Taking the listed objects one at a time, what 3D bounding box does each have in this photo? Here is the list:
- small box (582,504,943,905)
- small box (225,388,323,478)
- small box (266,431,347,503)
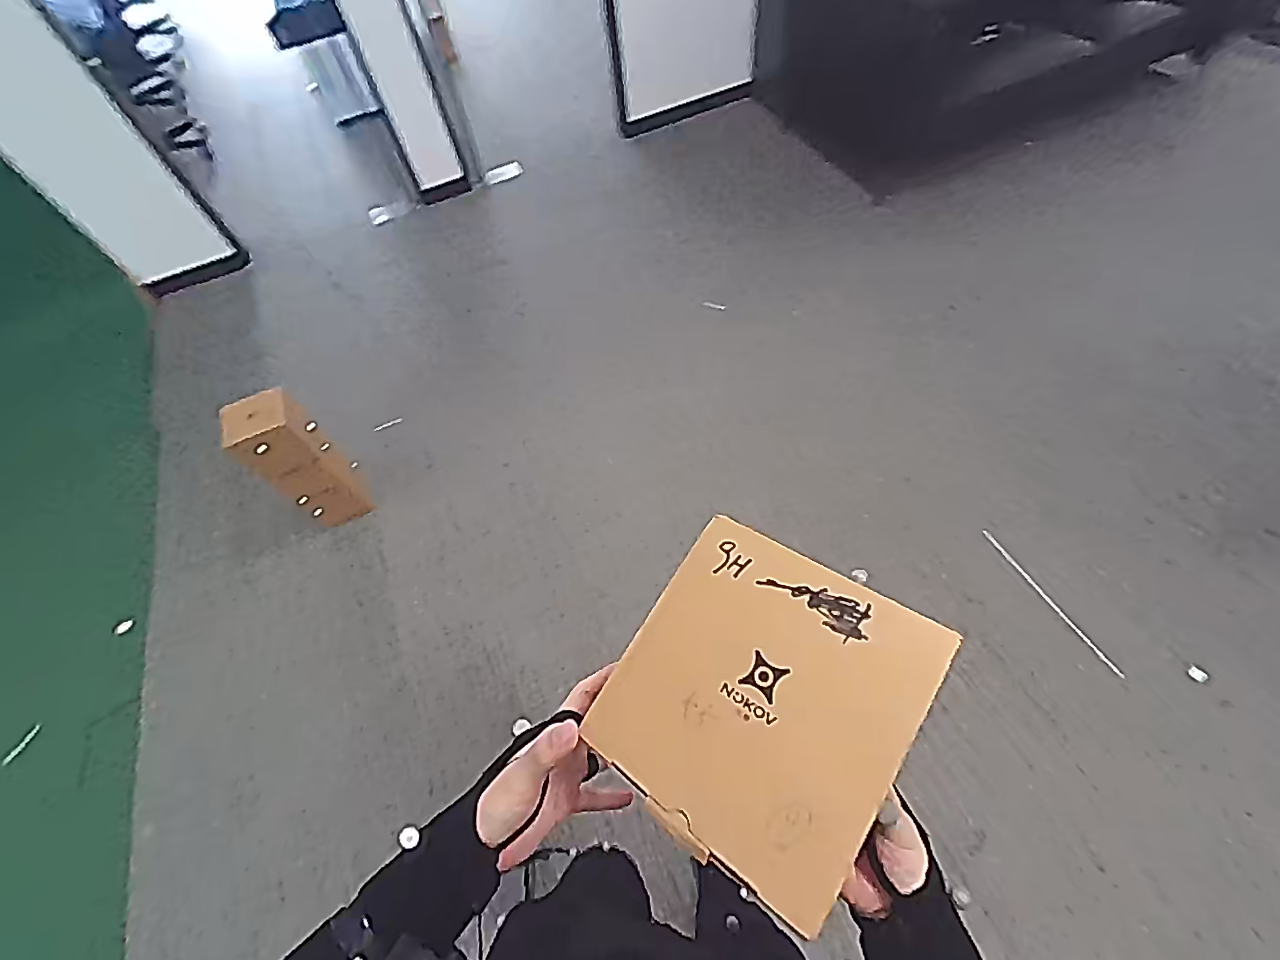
[{"bbox_3d":[0.095,0.152,0.398,0.168,0.176,0.179,25,75,30],"label":"small box"},{"bbox_3d":[-1.073,-0.132,1.588,0.179,0.176,0.168,-24,58,-10],"label":"small box"},{"bbox_3d":[-1.068,-0.049,1.731,0.168,0.176,0.179,-25,57,-10],"label":"small box"}]
